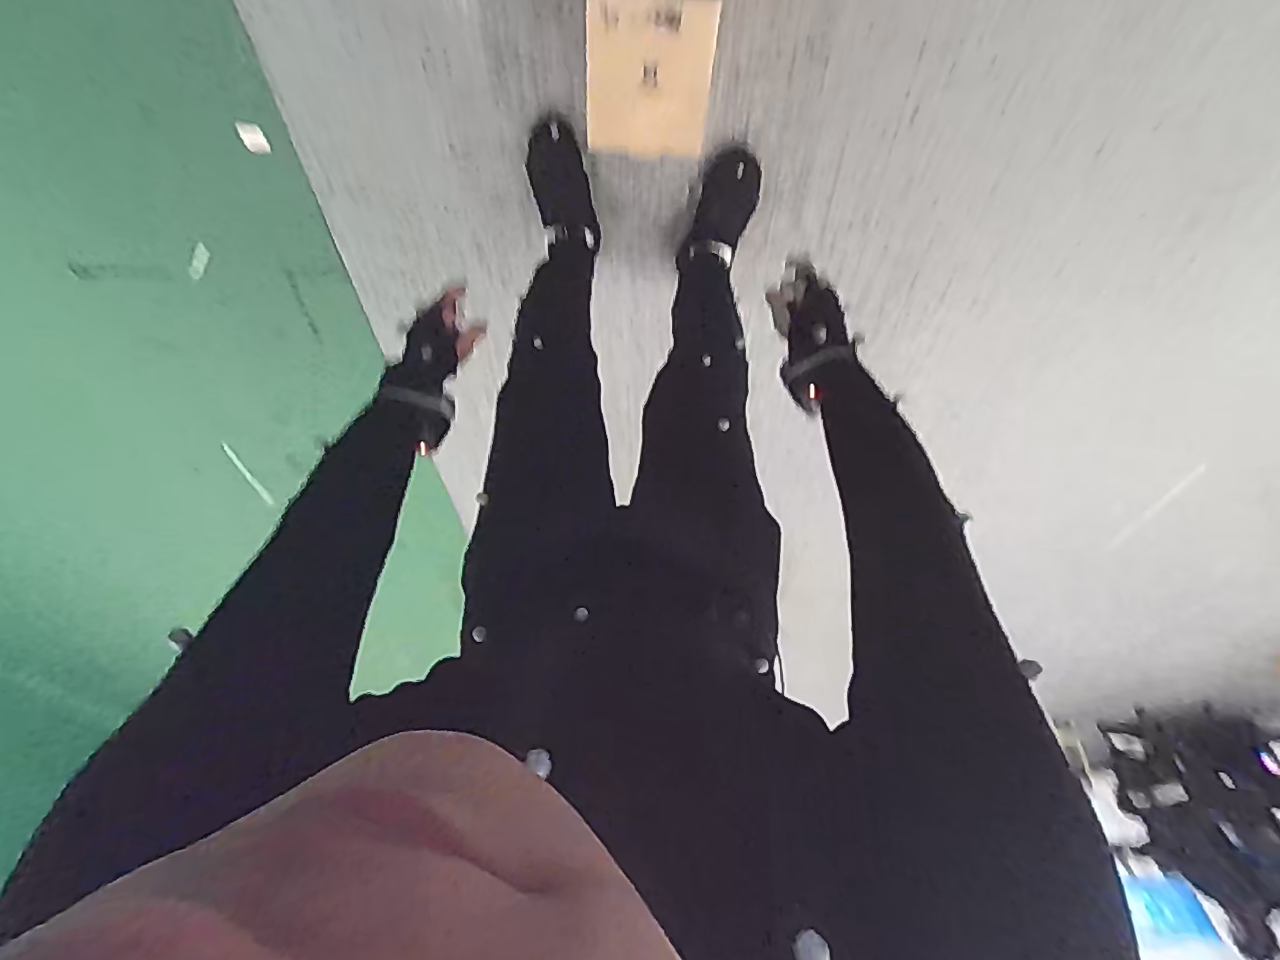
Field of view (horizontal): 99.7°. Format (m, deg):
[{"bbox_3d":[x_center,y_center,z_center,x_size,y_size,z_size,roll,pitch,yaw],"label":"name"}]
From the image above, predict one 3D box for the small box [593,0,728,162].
[{"bbox_3d":[0.024,-0.588,0.770,0.168,0.176,0.179,4,141,-3],"label":"small box"}]
